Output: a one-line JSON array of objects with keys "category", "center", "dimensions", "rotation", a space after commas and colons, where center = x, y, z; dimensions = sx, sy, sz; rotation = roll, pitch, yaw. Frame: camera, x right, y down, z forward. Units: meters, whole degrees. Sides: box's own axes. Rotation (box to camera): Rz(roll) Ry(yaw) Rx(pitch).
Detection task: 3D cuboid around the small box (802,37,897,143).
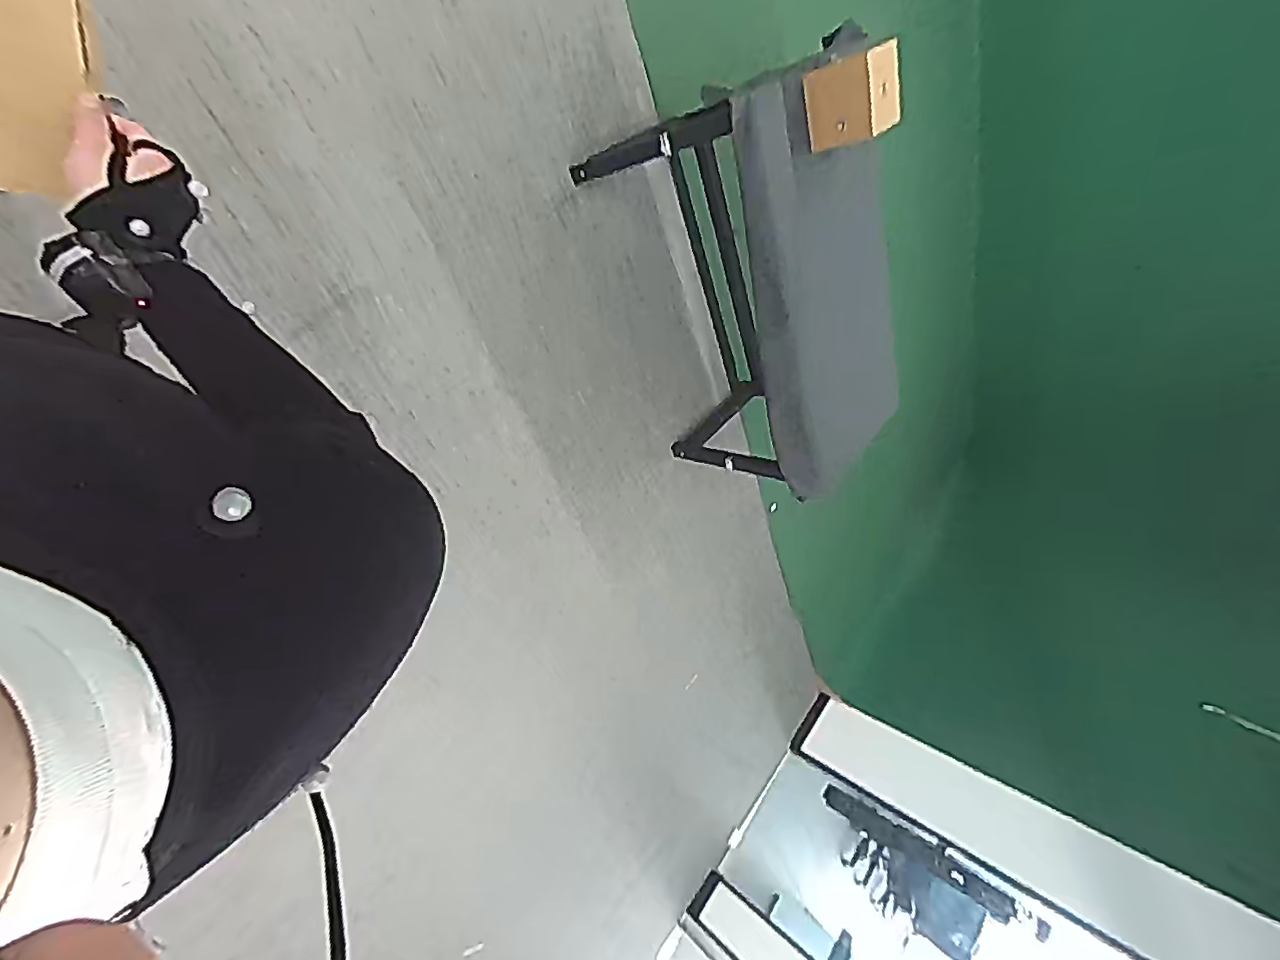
[{"category": "small box", "center": [0.529, -0.974, 1.363], "dimensions": [0.168, 0.176, 0.179], "rotation": [-42, 128, -32]}]
